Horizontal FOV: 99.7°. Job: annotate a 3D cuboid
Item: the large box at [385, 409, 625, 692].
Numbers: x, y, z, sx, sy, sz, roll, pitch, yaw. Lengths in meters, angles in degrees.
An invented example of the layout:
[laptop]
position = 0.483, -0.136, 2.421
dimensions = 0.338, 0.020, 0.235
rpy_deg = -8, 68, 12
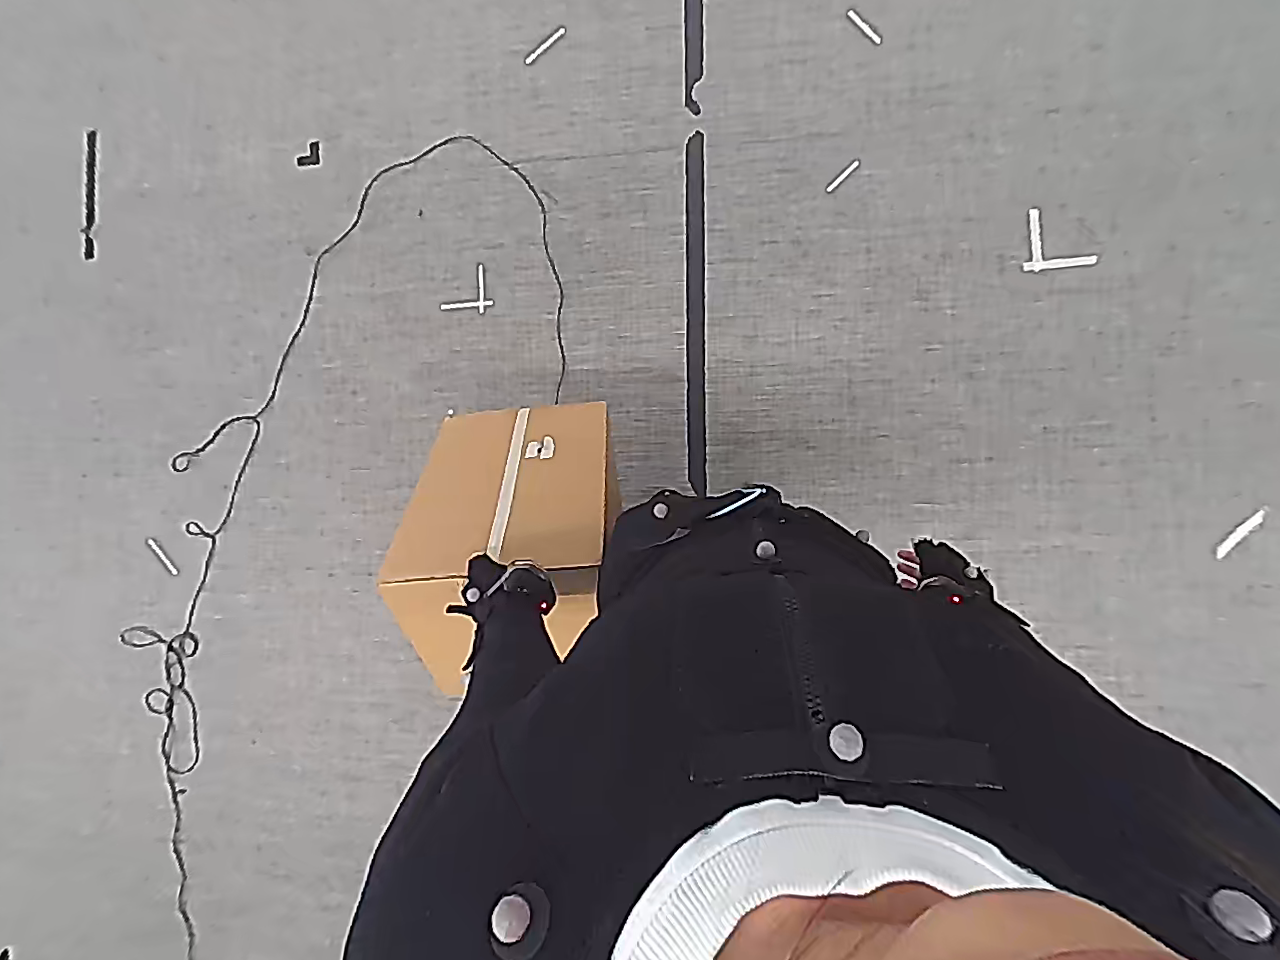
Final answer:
[large box]
position = -0.201, 0.119, 0.992
dimensions = 0.320, 0.408, 0.320
rpy_deg = -4, 130, 2
